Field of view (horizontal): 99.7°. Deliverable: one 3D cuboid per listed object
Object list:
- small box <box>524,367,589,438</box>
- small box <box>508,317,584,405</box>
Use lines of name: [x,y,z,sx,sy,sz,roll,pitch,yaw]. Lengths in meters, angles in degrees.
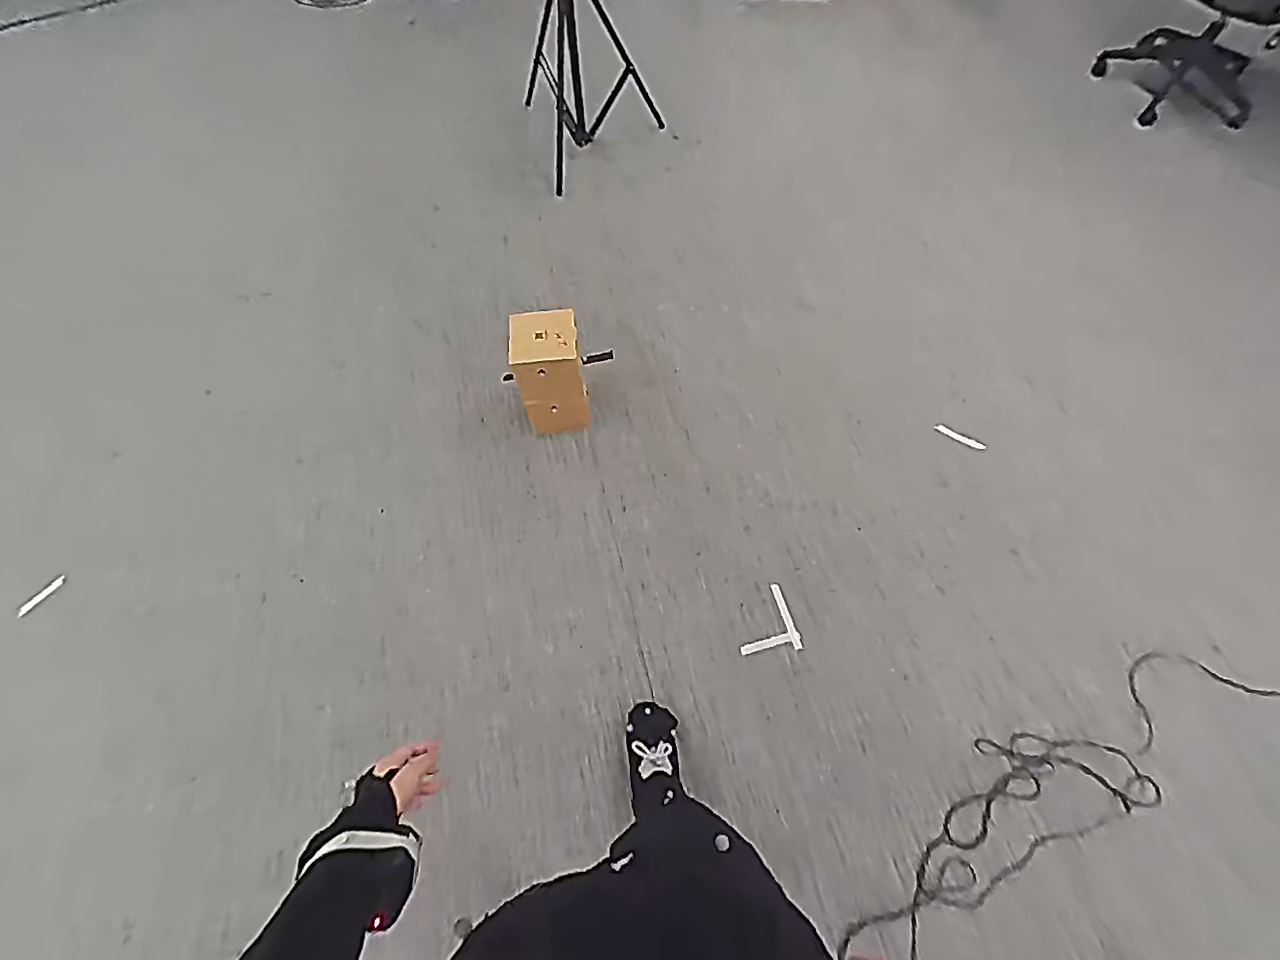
small box: [-0.249,-0.242,1.623,0.179,0.176,0.168,-8,65,-3]
small box: [-0.254,-0.319,1.477,0.179,0.176,0.168,-5,65,-1]
